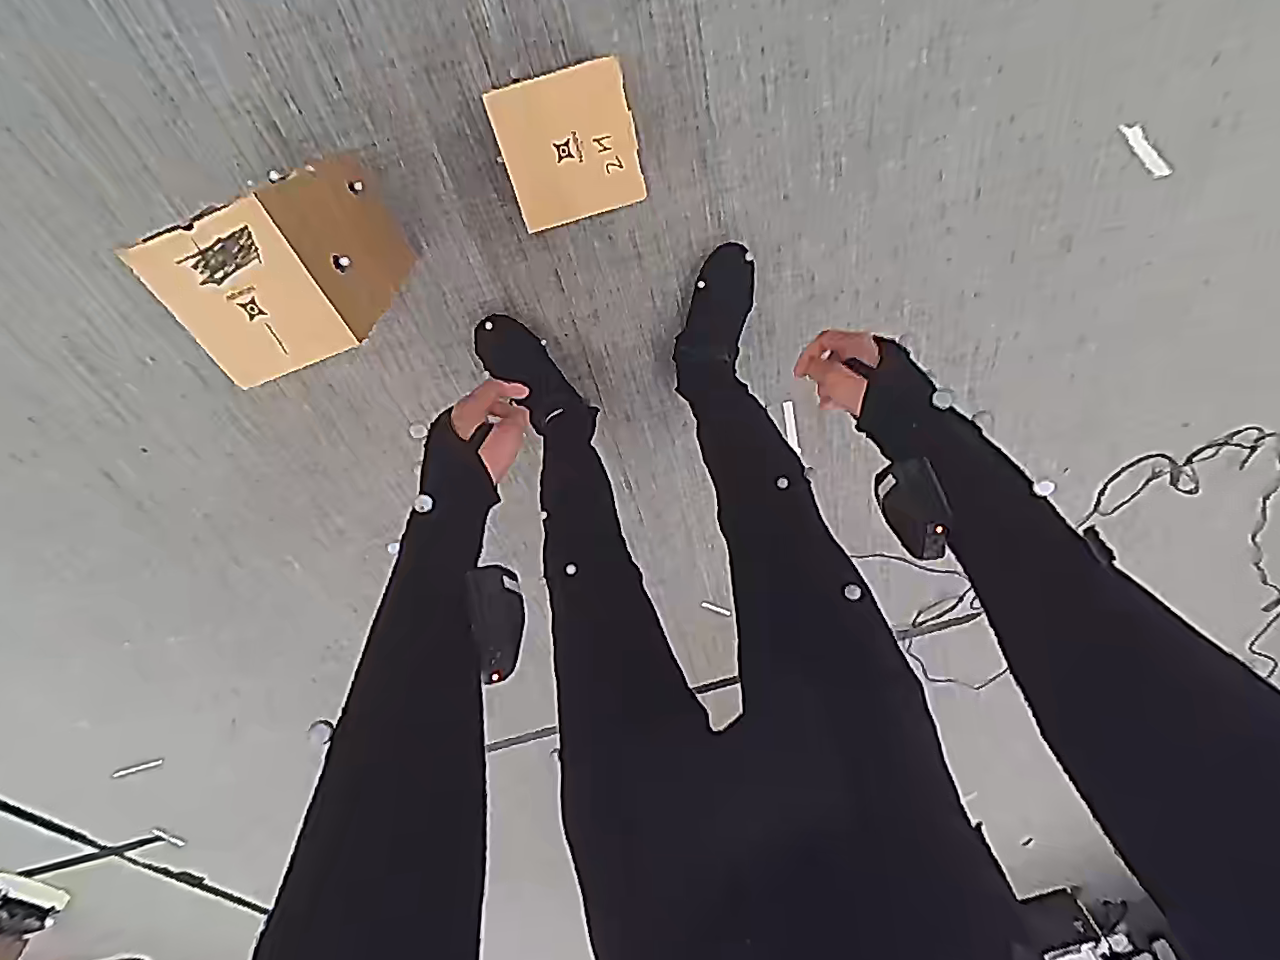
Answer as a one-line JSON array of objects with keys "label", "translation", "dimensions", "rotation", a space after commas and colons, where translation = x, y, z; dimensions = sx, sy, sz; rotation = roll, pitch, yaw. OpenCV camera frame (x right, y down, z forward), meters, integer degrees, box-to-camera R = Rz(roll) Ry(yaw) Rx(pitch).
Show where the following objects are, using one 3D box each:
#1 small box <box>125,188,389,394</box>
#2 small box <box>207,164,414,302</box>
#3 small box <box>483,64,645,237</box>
[{"label": "small box", "translation": [-0.446, -0.240, 0.668], "dimensions": [0.168, 0.176, 0.179], "rotation": [-19, 128, 5]}, {"label": "small box", "translation": [-0.463, -0.342, 0.795], "dimensions": [0.168, 0.176, 0.179], "rotation": [-21, 127, 6]}, {"label": "small box", "translation": [-0.103, -0.467, 0.768], "dimensions": [0.179, 0.176, 0.168], "rotation": [-16, 128, 1]}]
